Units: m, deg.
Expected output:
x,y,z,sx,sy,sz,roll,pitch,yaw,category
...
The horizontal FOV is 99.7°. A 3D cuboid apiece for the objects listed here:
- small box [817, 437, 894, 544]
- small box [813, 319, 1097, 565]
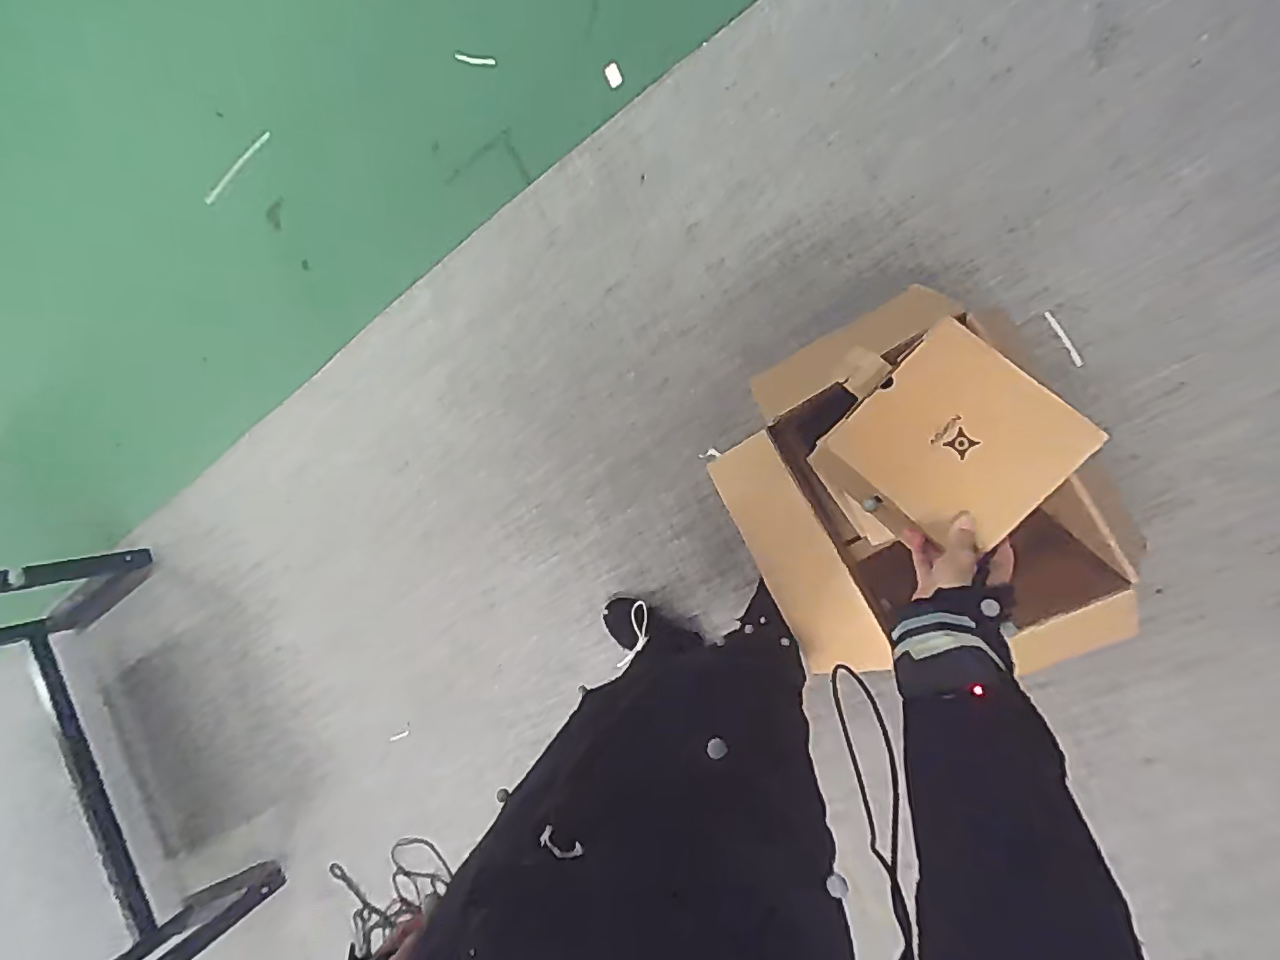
x,y,z,sx,sy,sz,roll,pitch,yaw,category
0.377,-0.029,0.796,0.179,0.176,0.168,-27,87,21,small box
0.310,-0.033,0.581,0.179,0.176,0.168,45,96,13,small box
